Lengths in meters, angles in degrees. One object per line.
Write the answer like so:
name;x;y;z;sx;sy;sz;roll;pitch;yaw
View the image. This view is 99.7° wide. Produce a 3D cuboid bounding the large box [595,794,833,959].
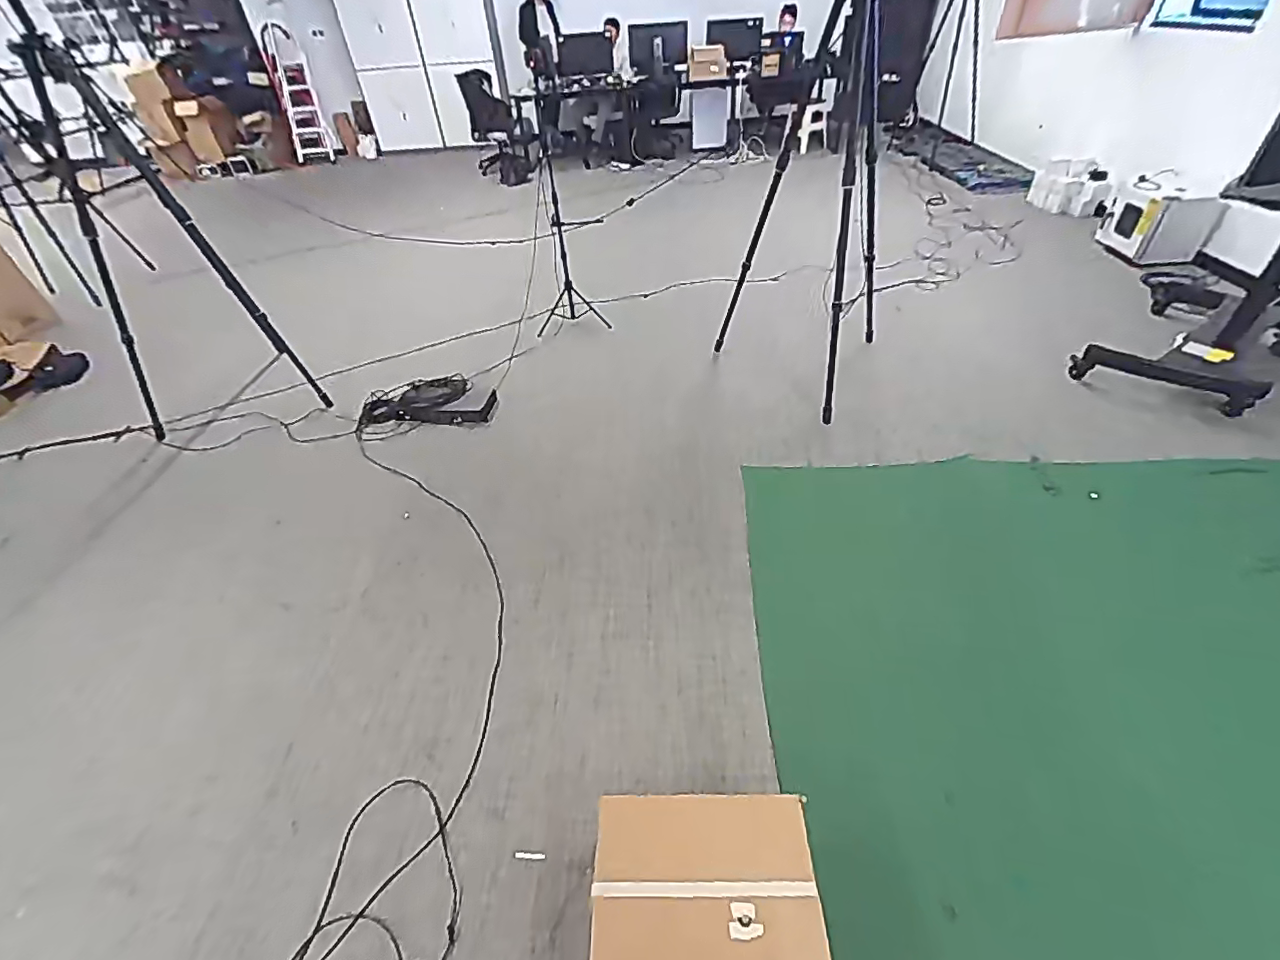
large box;0.128;0.849;1.072;0.408;0.320;0.320;-2;42;3
